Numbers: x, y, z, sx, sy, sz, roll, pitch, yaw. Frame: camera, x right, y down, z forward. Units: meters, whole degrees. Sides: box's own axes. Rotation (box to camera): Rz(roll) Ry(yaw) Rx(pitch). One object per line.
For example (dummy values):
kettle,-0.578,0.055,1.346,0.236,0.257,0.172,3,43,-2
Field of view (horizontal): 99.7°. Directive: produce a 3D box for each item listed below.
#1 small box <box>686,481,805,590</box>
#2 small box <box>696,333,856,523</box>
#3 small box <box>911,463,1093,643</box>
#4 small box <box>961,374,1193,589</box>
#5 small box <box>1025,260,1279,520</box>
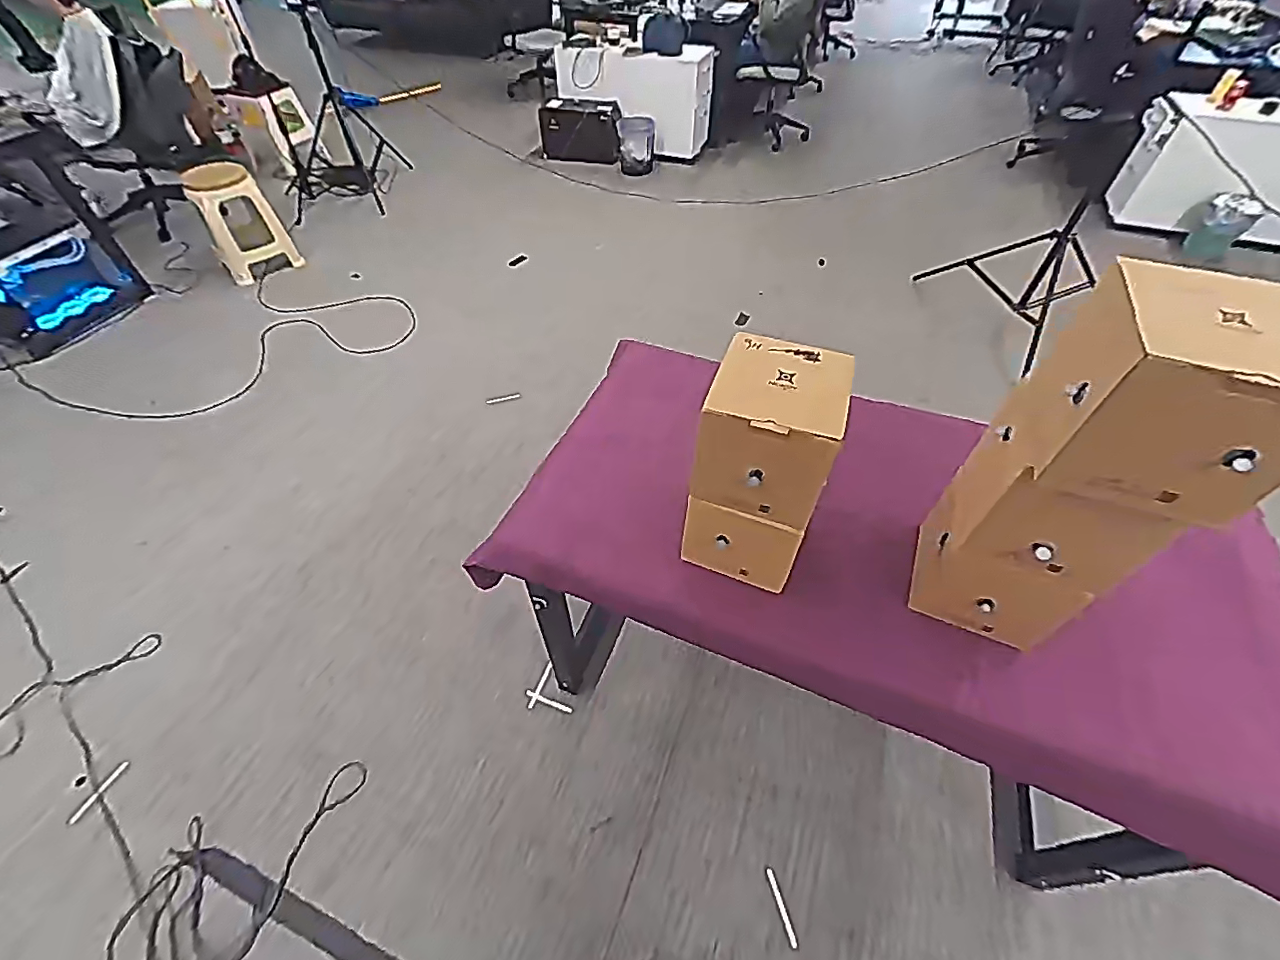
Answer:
small box,0.176,0.045,0.855,0.168,0.176,0.179,18,51,14
small box,0.178,-0.068,0.735,0.168,0.176,0.179,16,51,13
small box,0.521,0.111,0.798,0.168,0.176,0.179,20,52,15
small box,0.526,0.002,0.675,0.168,0.176,0.179,19,52,16
small box,0.519,-0.087,0.538,0.168,0.176,0.179,17,51,13
